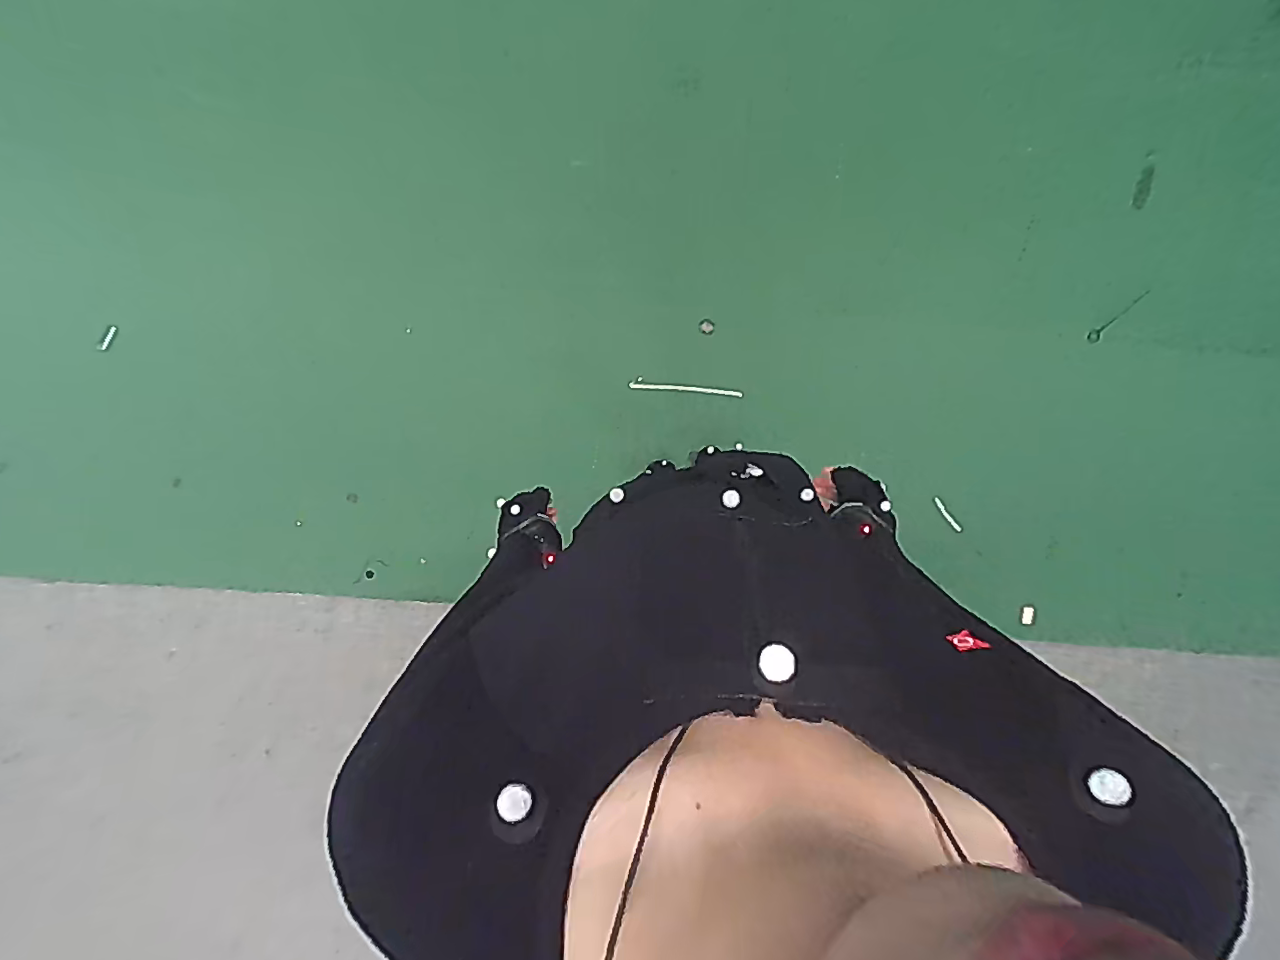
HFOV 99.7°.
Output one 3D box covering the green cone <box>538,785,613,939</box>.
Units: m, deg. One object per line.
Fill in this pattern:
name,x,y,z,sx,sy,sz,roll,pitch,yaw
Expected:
green cone,-0.185,0.978,1.367,0.200,0.368,0.202,6,93,0
